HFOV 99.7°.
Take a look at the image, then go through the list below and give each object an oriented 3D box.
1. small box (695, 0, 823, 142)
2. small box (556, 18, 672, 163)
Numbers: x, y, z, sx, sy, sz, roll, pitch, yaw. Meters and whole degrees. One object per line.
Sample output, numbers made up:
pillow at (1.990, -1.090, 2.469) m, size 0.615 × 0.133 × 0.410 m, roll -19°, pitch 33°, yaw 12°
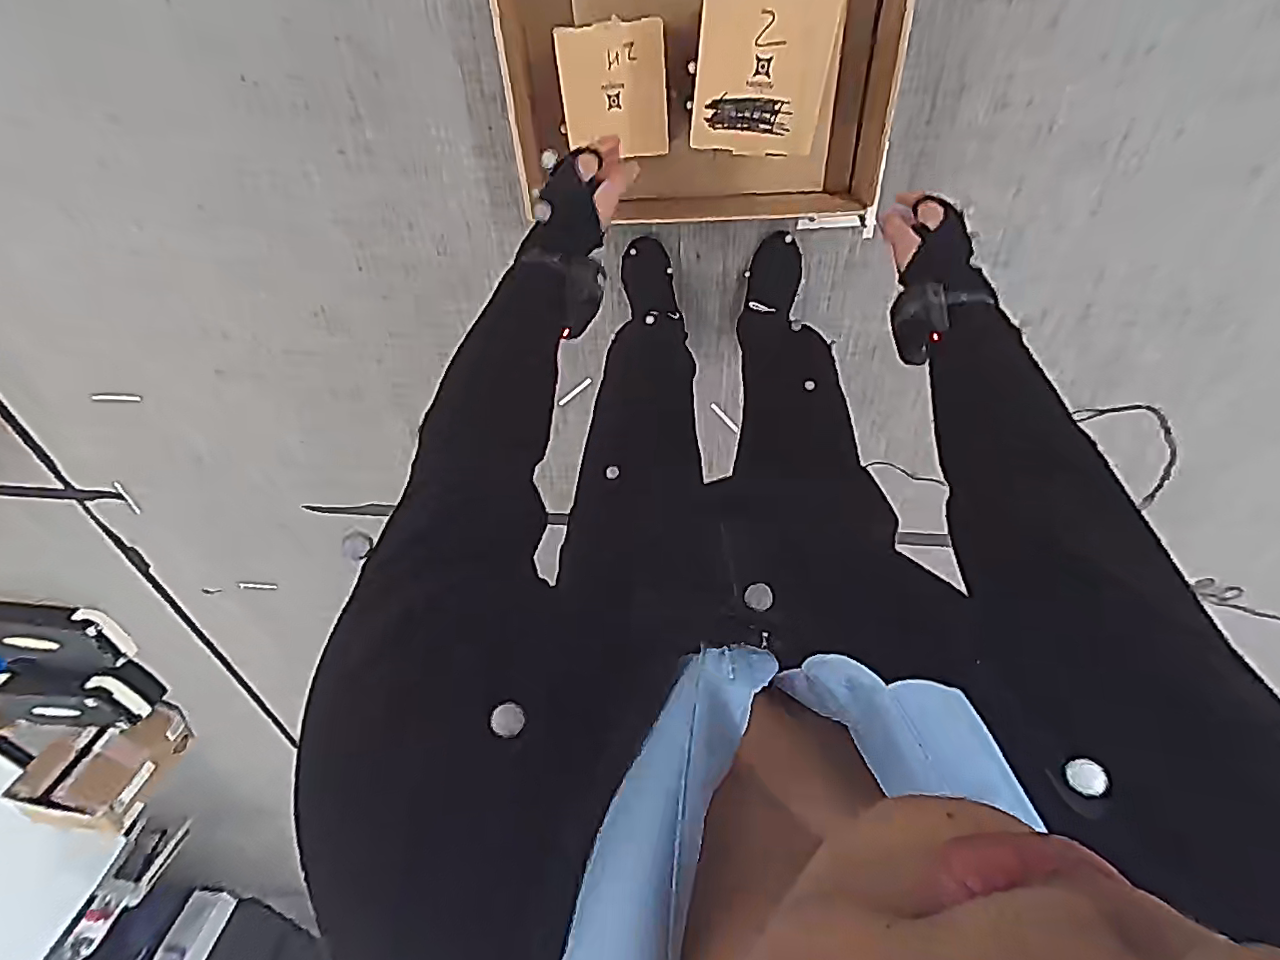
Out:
small box at (0.181, -0.660, 0.869) m, size 0.168 × 0.176 × 0.179 m, roll 6°, pitch 129°, yaw 5°
small box at (-0.033, -0.647, 0.901) m, size 0.168 × 0.176 × 0.179 m, roll -2°, pitch 127°, yaw 5°
